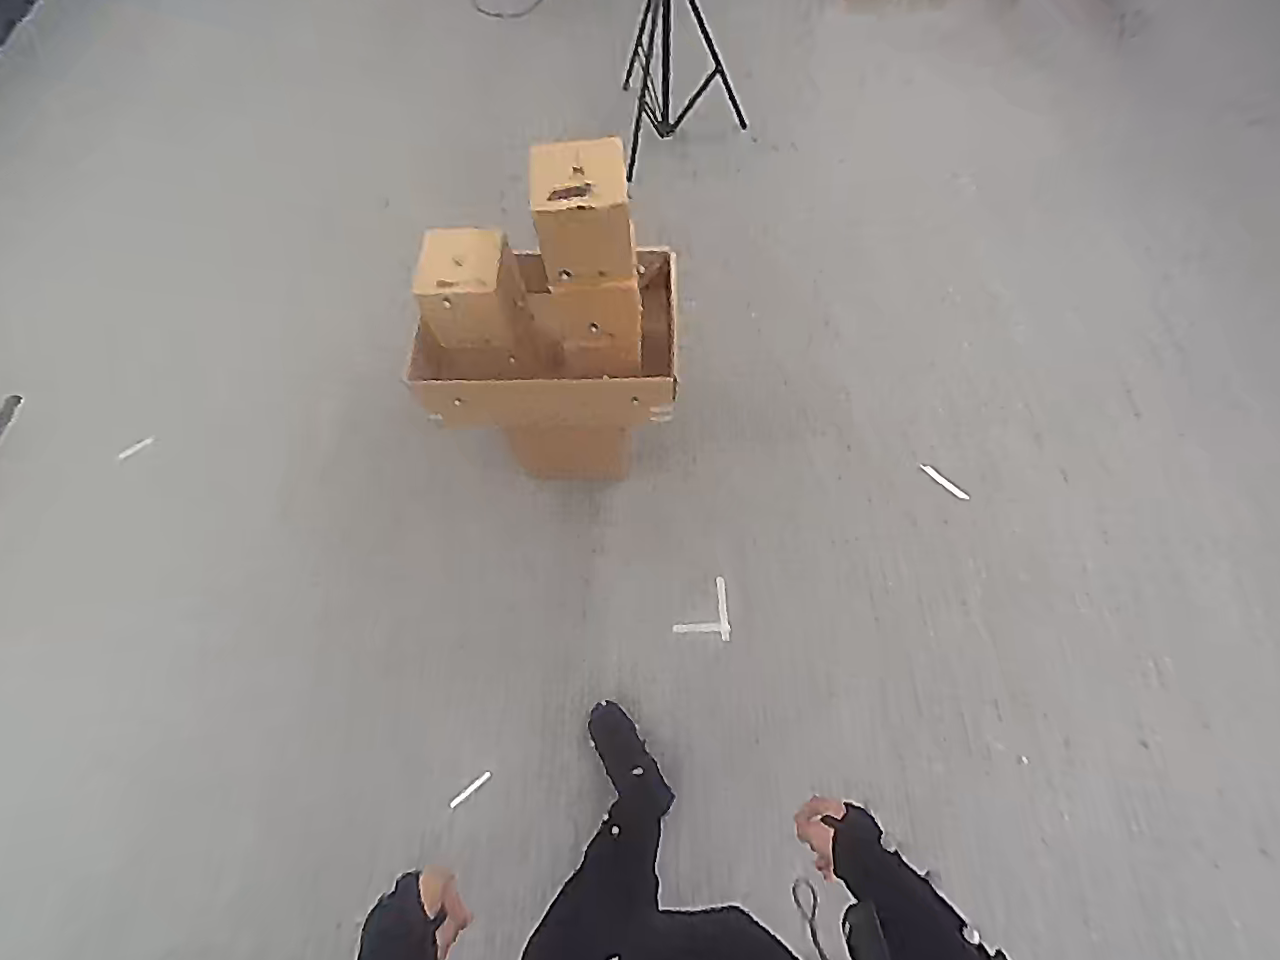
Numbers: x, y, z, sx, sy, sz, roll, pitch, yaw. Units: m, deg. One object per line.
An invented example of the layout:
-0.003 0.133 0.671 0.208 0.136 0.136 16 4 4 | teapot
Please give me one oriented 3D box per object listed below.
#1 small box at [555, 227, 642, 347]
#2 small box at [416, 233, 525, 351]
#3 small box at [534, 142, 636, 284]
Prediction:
-0.083 -0.406 1.149 0.168 0.176 0.179 -3 66 2 | small box
-0.350 -0.399 1.158 0.168 0.176 0.179 0 64 4 | small box
-0.097 -0.485 1.005 0.168 0.176 0.179 -5 65 0 | small box
